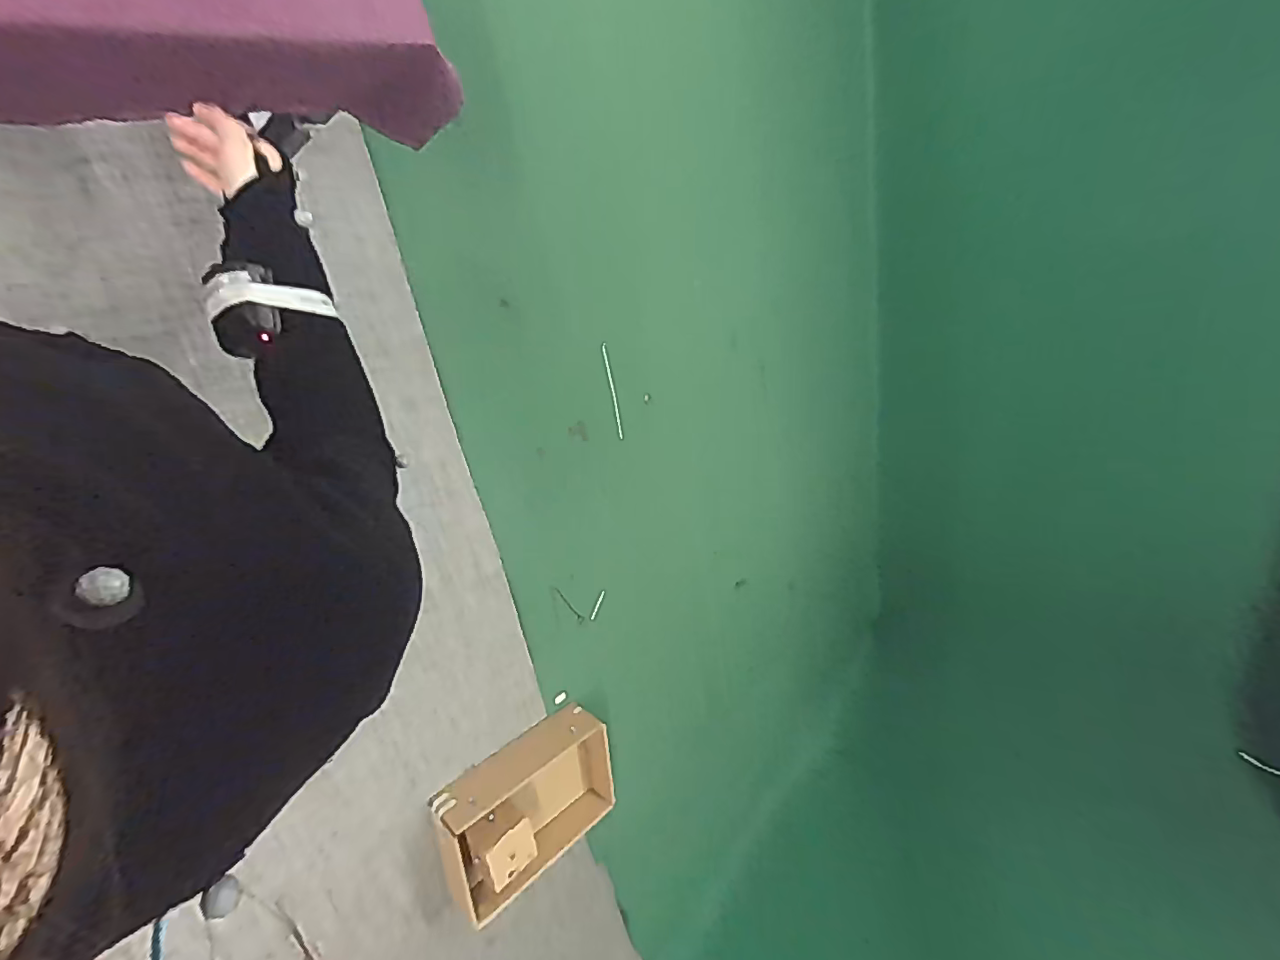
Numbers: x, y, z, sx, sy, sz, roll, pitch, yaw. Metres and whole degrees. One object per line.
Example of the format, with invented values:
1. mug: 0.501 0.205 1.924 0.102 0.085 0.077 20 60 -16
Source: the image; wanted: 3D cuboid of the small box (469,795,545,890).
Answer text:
1. small box: -0.445 1.188 1.793 0.168 0.176 0.179 -25 114 -40
